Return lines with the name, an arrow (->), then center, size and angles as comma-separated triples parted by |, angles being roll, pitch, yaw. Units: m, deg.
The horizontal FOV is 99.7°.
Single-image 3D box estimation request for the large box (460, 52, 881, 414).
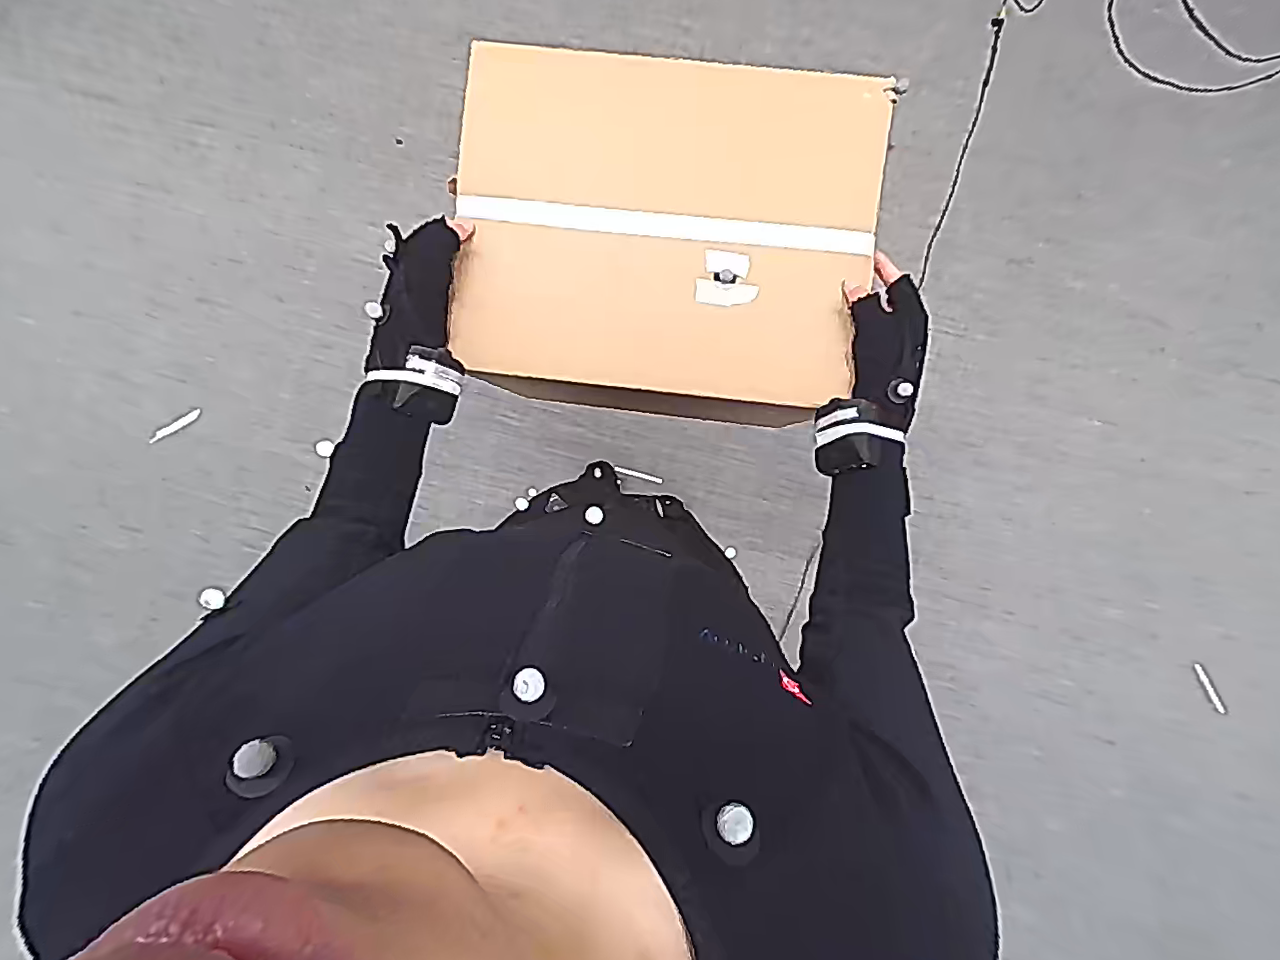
large box -> 0.028, -0.264, 0.690 | 0.408, 0.320, 0.320 | 7, 94, 1
